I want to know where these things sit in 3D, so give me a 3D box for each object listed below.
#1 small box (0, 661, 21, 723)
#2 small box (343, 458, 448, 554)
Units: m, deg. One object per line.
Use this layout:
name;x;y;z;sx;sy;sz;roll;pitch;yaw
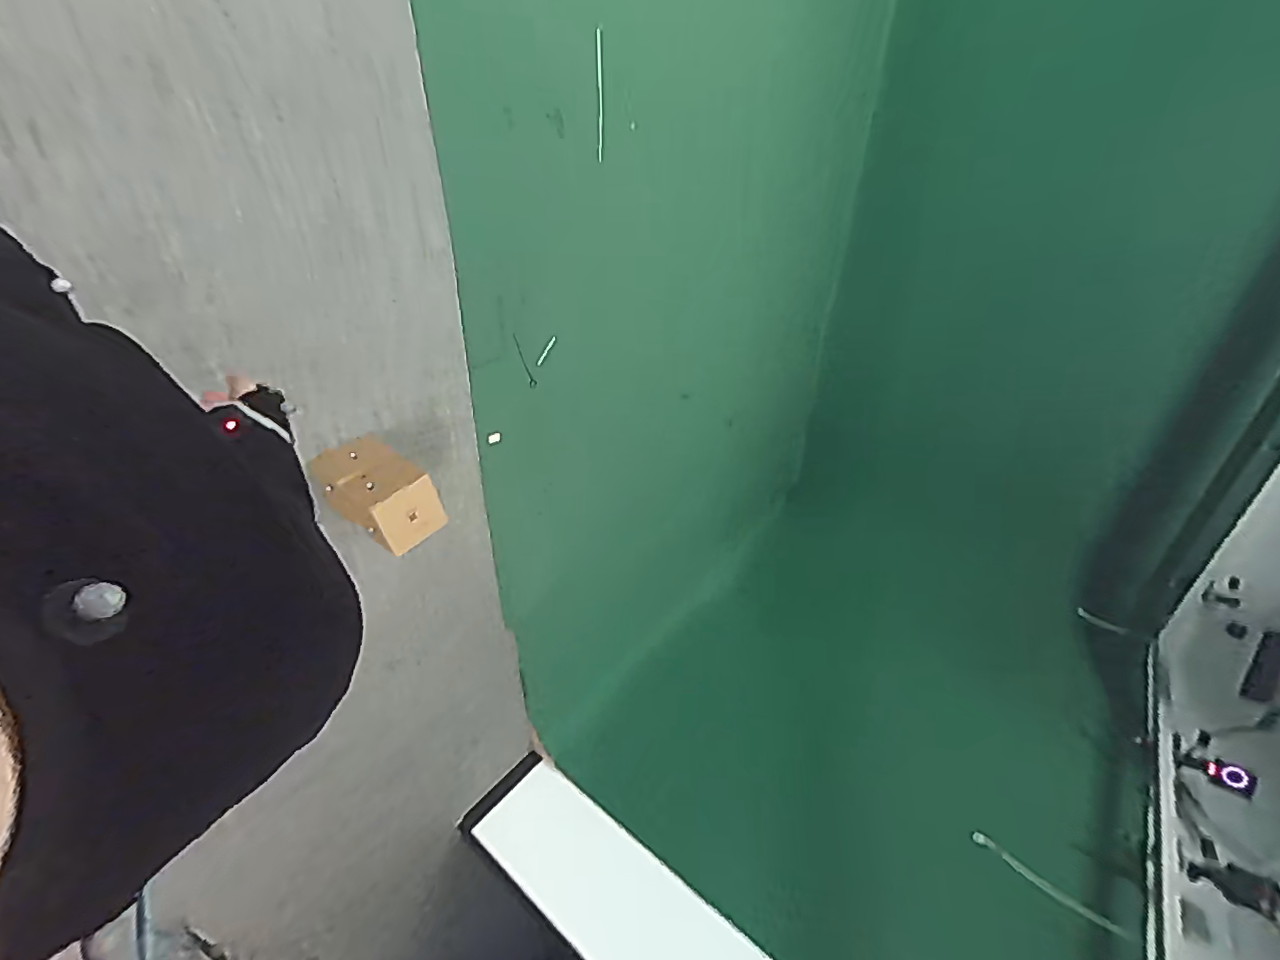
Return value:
small box;-1.317;0.388;0.995;0.179;0.176;0.168;-31;133;-41
small box;-0.648;0.059;1.436;0.168;0.176;0.179;-39;139;-34
